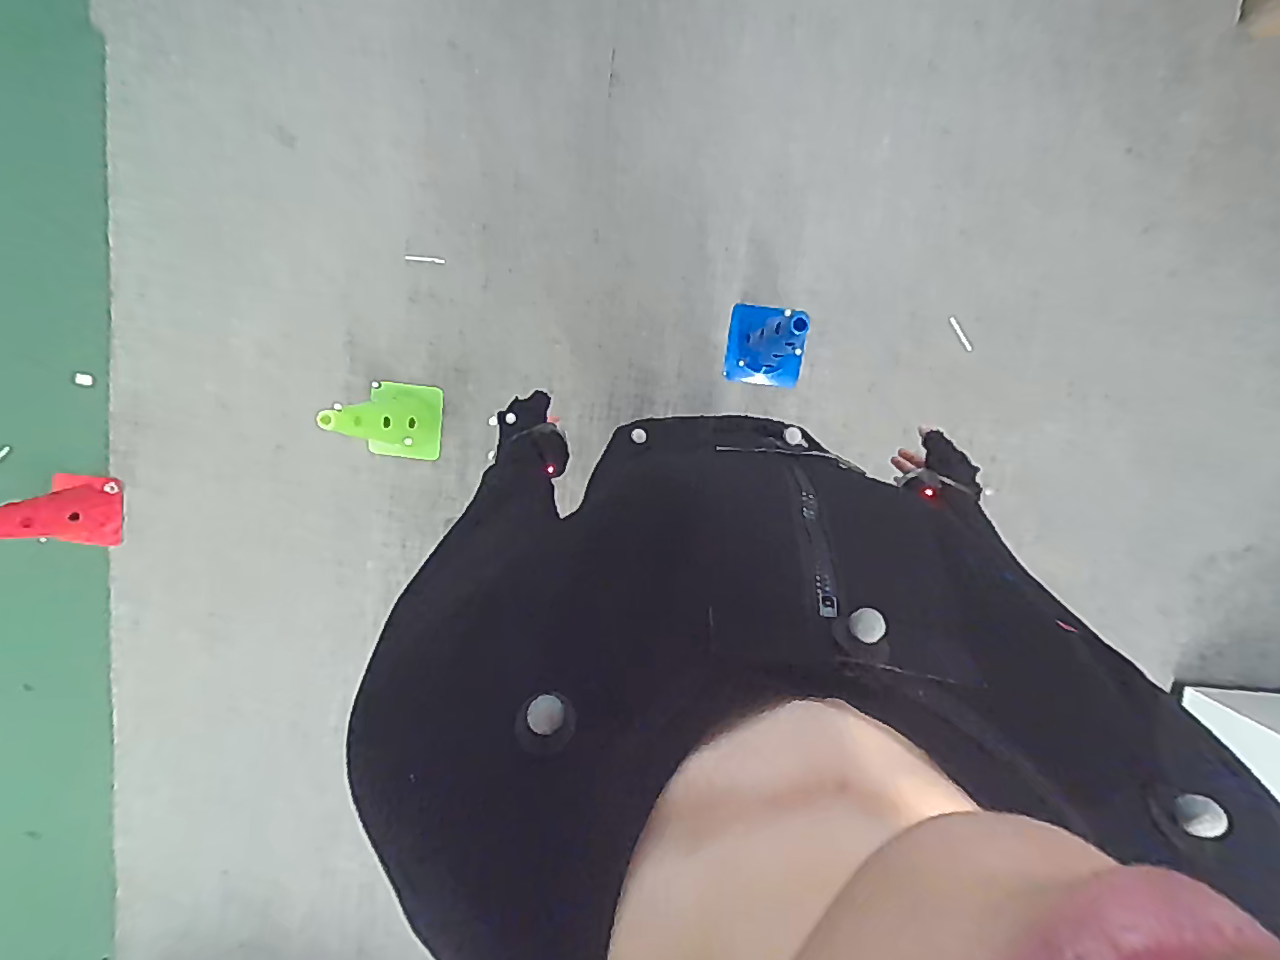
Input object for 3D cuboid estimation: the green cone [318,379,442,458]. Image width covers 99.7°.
[{"bbox_3d":[-0.648,-0.145,1.298,0.202,0.368,0.200,5,97,2],"label":"green cone"}]
